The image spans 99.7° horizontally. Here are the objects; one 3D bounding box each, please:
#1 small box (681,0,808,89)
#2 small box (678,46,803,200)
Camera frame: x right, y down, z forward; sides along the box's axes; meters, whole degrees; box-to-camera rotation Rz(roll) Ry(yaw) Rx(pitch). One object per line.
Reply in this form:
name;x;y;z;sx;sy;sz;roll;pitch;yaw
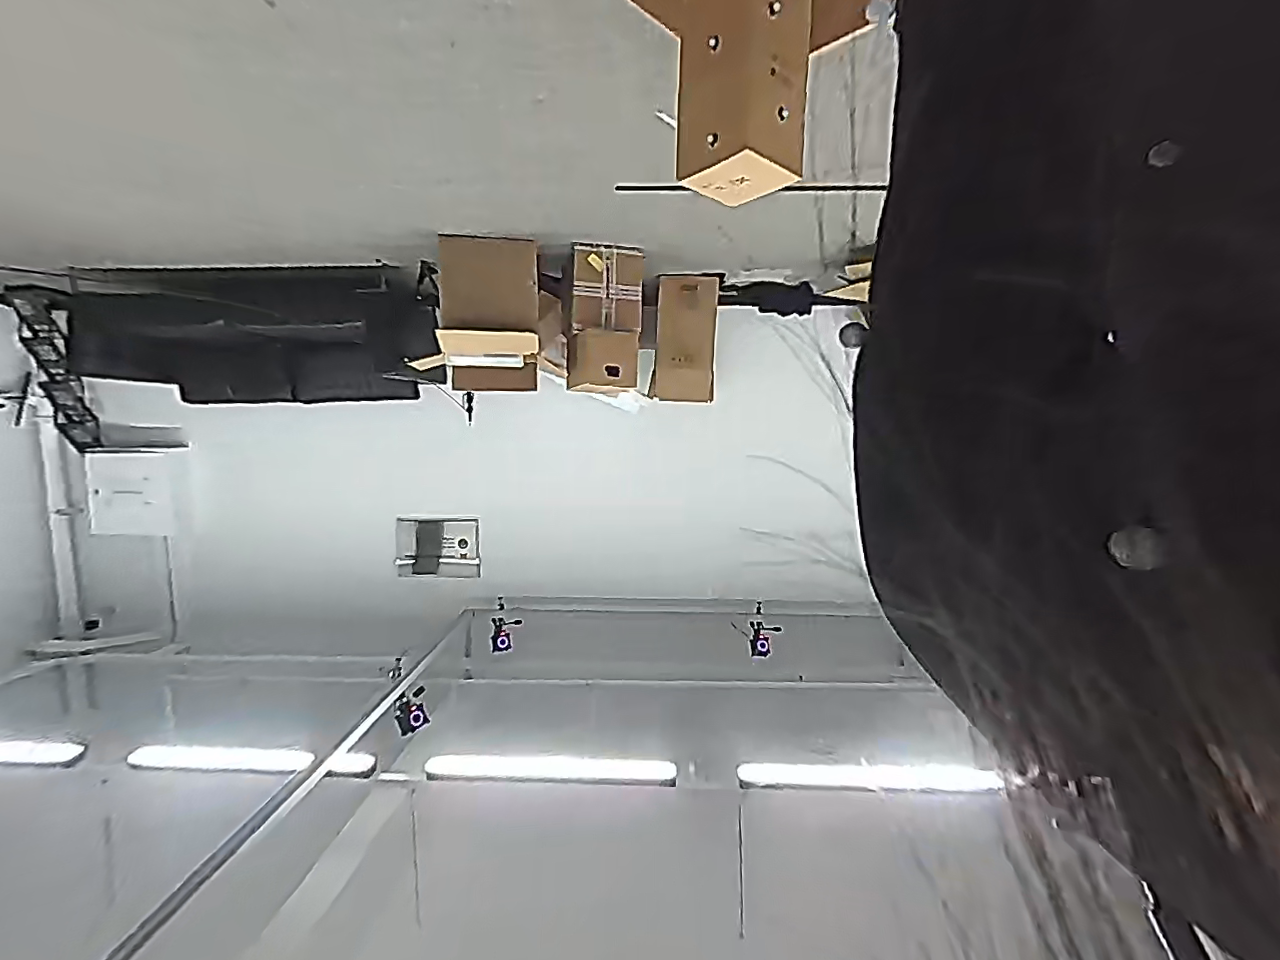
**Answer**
small box;0.191;-0.815;0.993;0.168;0.176;0.179;-4;-171;-41
small box;0.186;-0.652;1.004;0.168;0.176;0.179;-4;-170;-41
